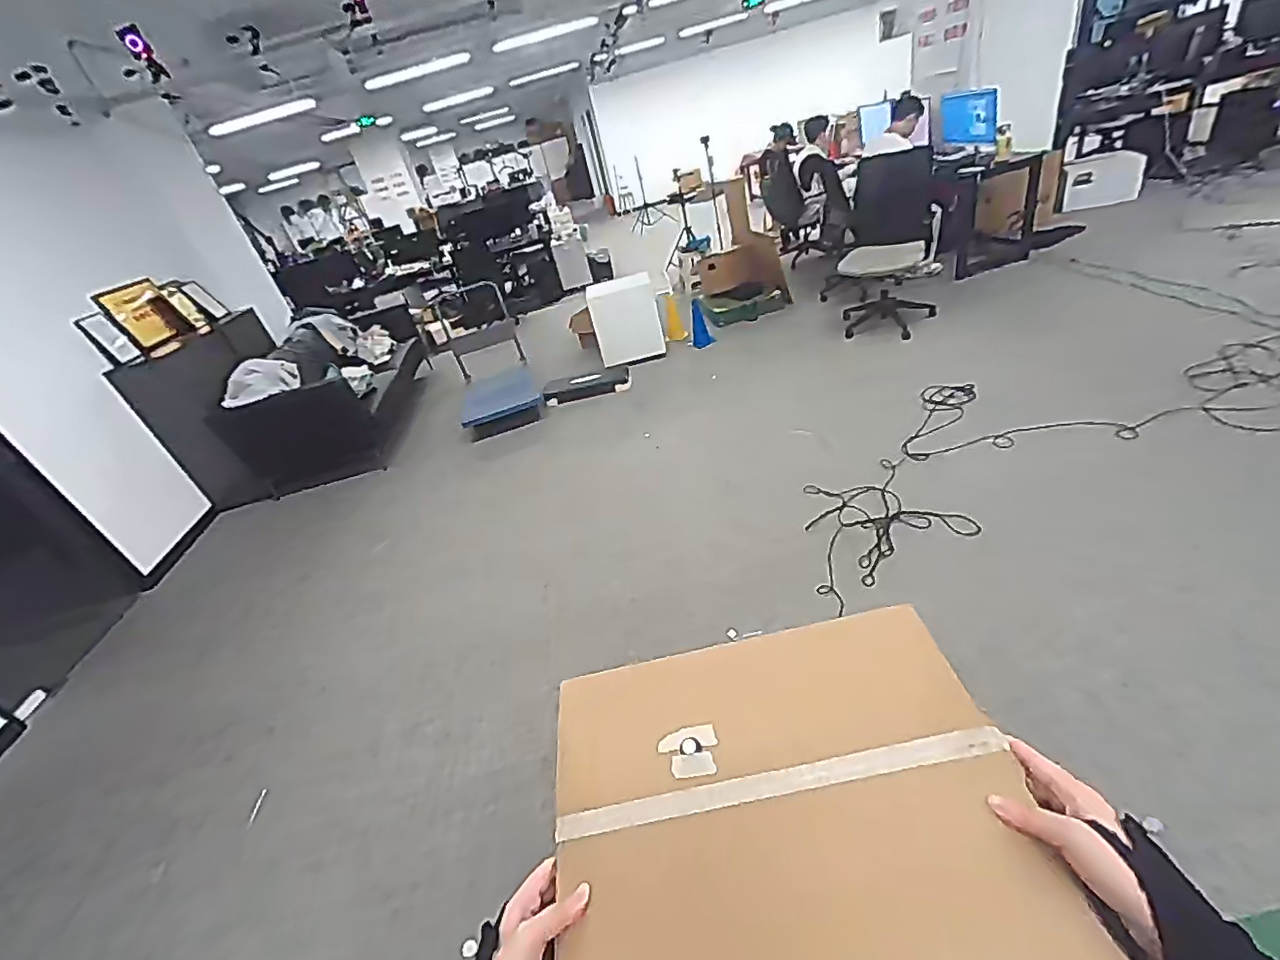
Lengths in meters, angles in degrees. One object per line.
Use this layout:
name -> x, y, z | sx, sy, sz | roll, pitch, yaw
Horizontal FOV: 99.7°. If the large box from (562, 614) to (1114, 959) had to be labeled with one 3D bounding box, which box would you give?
large box -> 0.159, 0.403, 0.586 | 0.408, 0.320, 0.320 | -16, 37, 6
